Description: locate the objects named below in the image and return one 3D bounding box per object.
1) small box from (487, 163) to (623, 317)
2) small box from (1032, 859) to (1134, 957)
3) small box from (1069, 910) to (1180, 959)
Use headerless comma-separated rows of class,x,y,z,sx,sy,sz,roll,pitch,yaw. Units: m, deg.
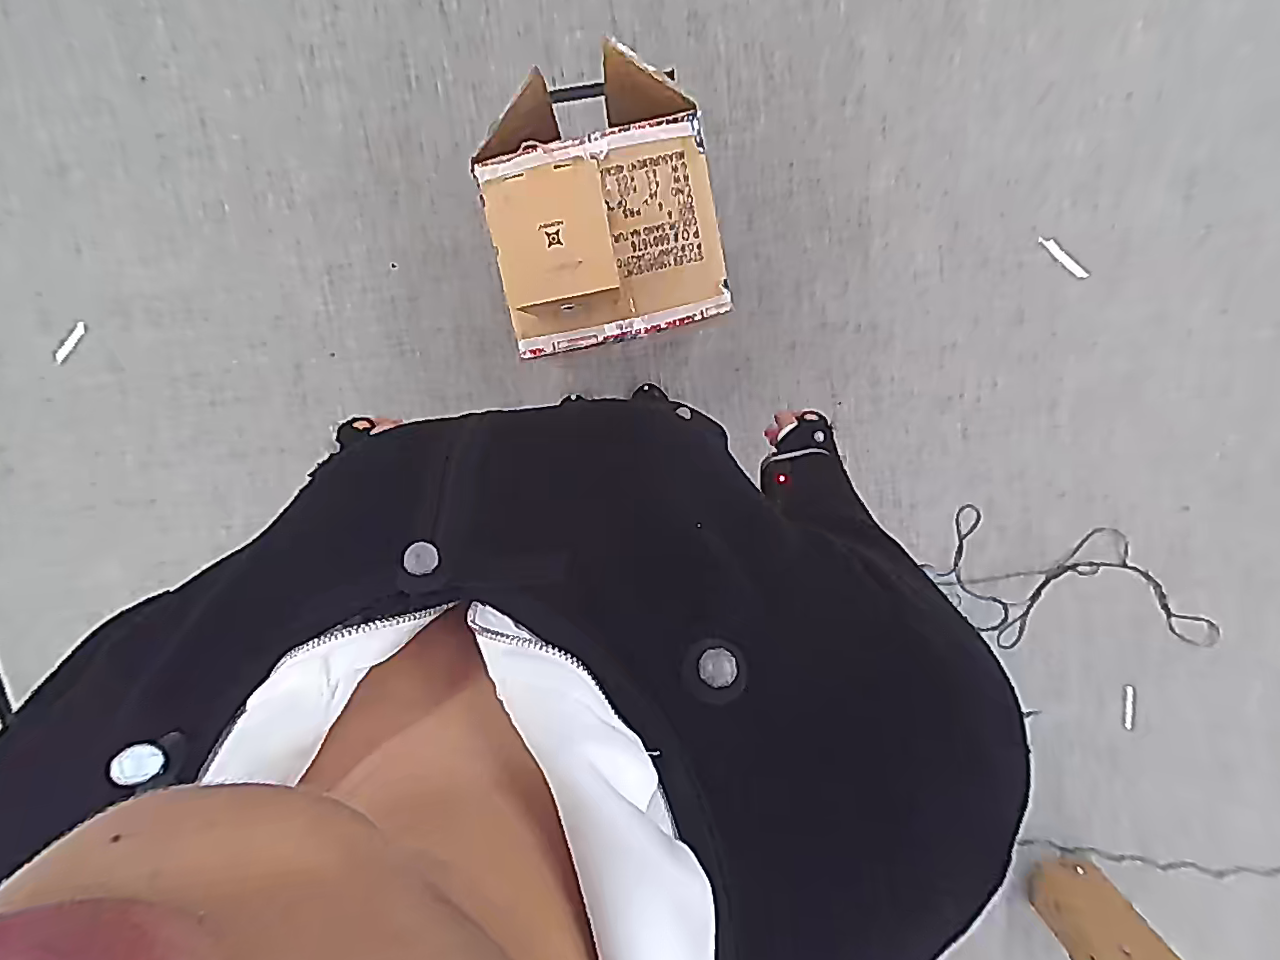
small box,-0.124,-0.366,0.856,0.168,0.176,0.179,-11,104,3
small box,1.334,1.299,1.642,0.168,0.176,0.179,1,99,-1
small box,1.324,1.323,1.478,0.179,0.176,0.168,-2,101,0
